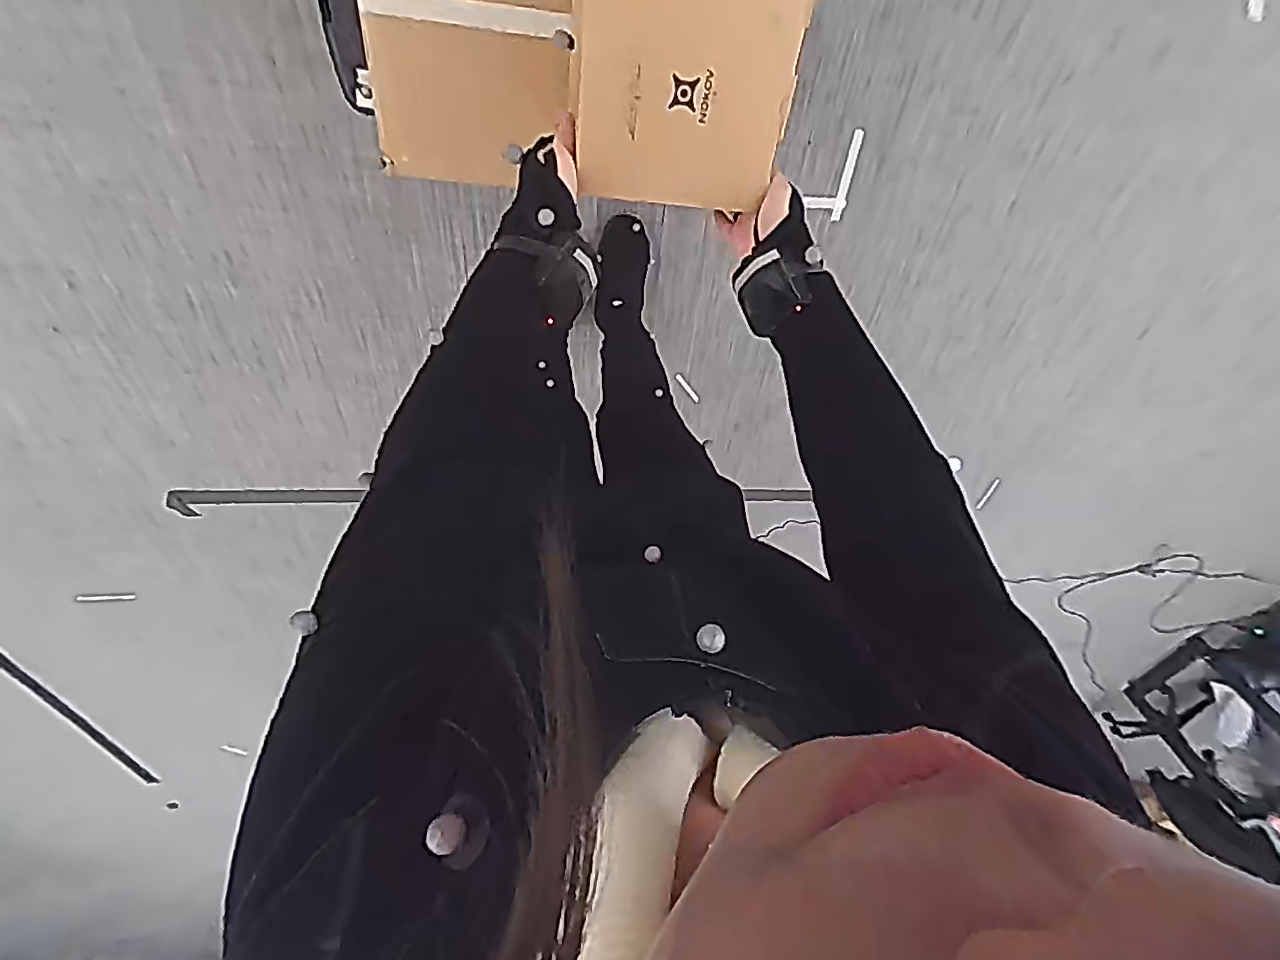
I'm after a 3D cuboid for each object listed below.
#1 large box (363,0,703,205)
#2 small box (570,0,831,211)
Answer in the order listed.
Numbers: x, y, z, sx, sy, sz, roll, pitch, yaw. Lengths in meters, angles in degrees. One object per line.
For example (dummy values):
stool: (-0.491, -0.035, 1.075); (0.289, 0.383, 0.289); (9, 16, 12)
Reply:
large box: (-0.088, -0.562, 0.664); (0.408, 0.320, 0.320); (1, 130, -9)
small box: (0.034, -0.356, 0.477); (0.179, 0.176, 0.168); (1, 129, -11)
